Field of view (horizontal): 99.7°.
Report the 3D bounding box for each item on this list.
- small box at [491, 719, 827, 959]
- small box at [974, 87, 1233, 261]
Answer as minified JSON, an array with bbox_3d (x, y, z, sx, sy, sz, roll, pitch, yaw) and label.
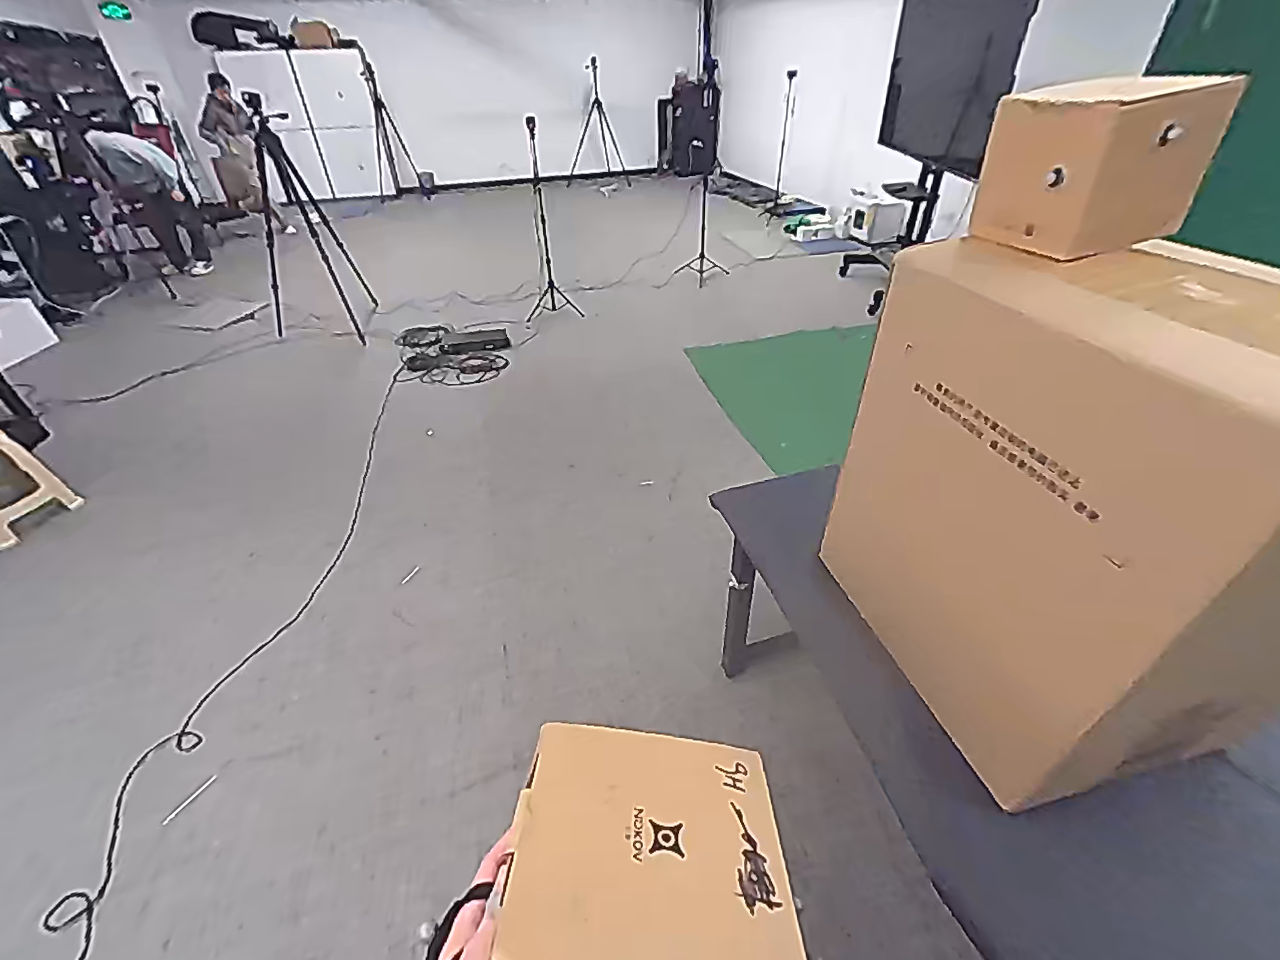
[{"bbox_3d":[0.002,0.295,0.364,0.179,0.176,0.168,9,20,-2],"label":"small box"},{"bbox_3d":[0.573,-0.397,0.702,0.179,0.176,0.168,-14,39,-11],"label":"small box"}]
